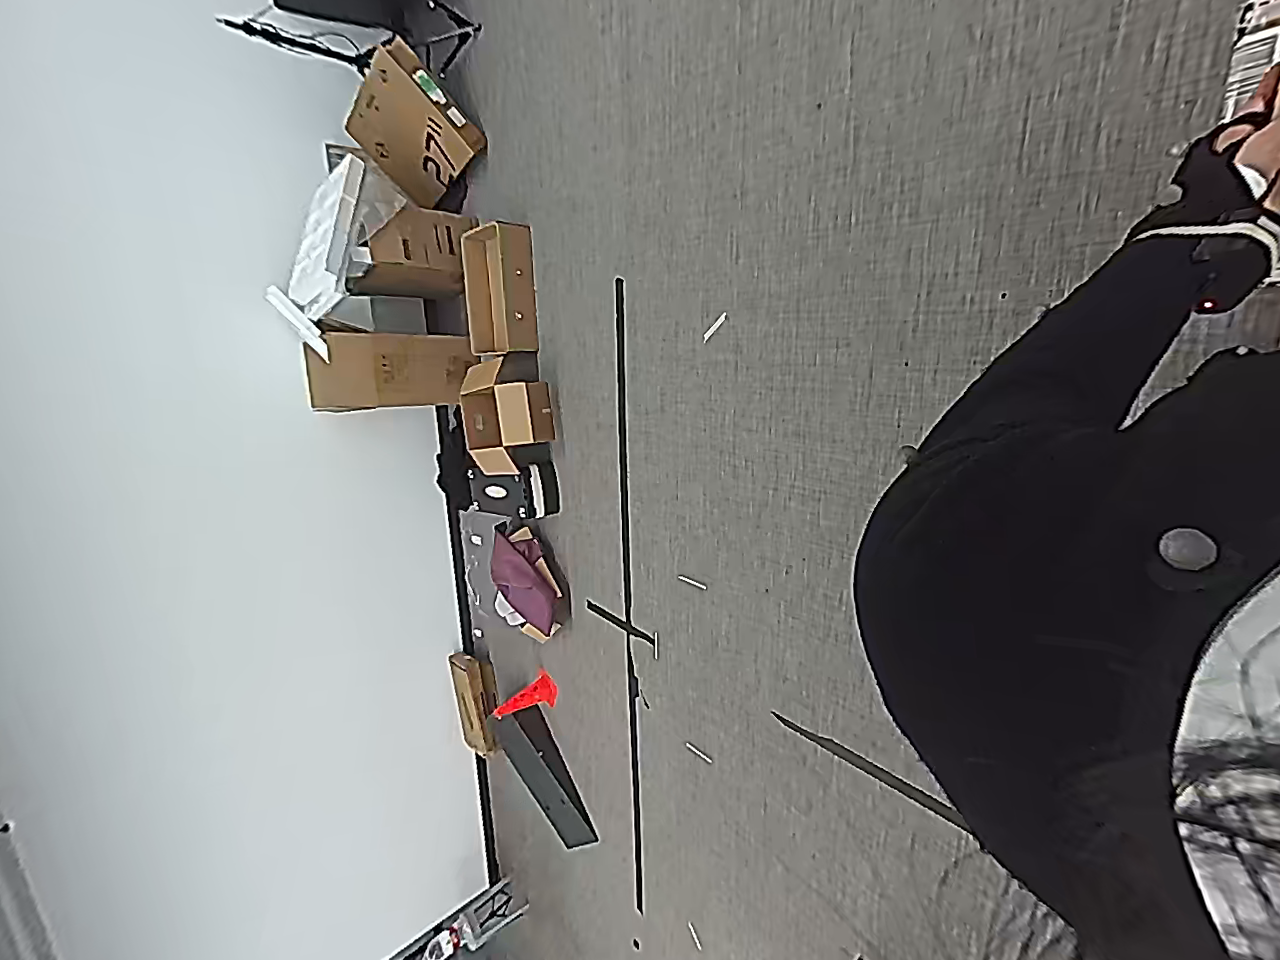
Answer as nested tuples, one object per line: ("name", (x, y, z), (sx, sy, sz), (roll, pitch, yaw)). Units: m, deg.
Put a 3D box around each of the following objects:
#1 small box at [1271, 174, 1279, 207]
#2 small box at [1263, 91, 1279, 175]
("small box", (0.746, -0.366, 0.516), (0.168, 0.176, 0.179), (12, 113, 49))
("small box", (0.623, -0.342, 0.409), (0.168, 0.176, 0.179), (15, 115, 48))
